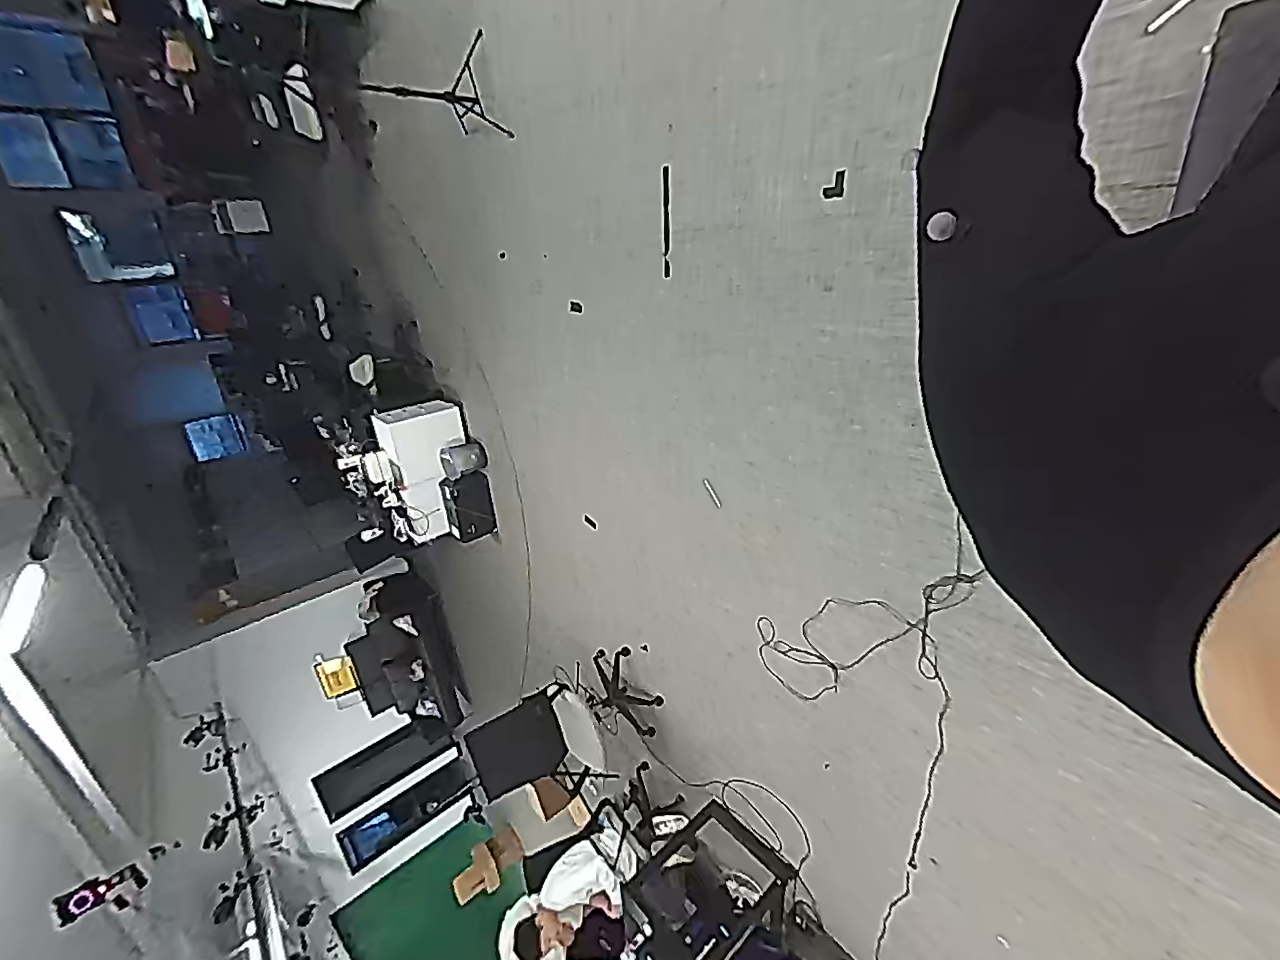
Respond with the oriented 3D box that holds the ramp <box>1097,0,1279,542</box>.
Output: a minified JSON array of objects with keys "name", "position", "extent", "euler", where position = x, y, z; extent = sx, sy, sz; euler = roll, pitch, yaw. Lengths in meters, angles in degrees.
[{"name":"ramp","position":[1.216,-0.305,0.949],"extent":[0.509,0.206,0.991],"euler":[19,123,45]}]
